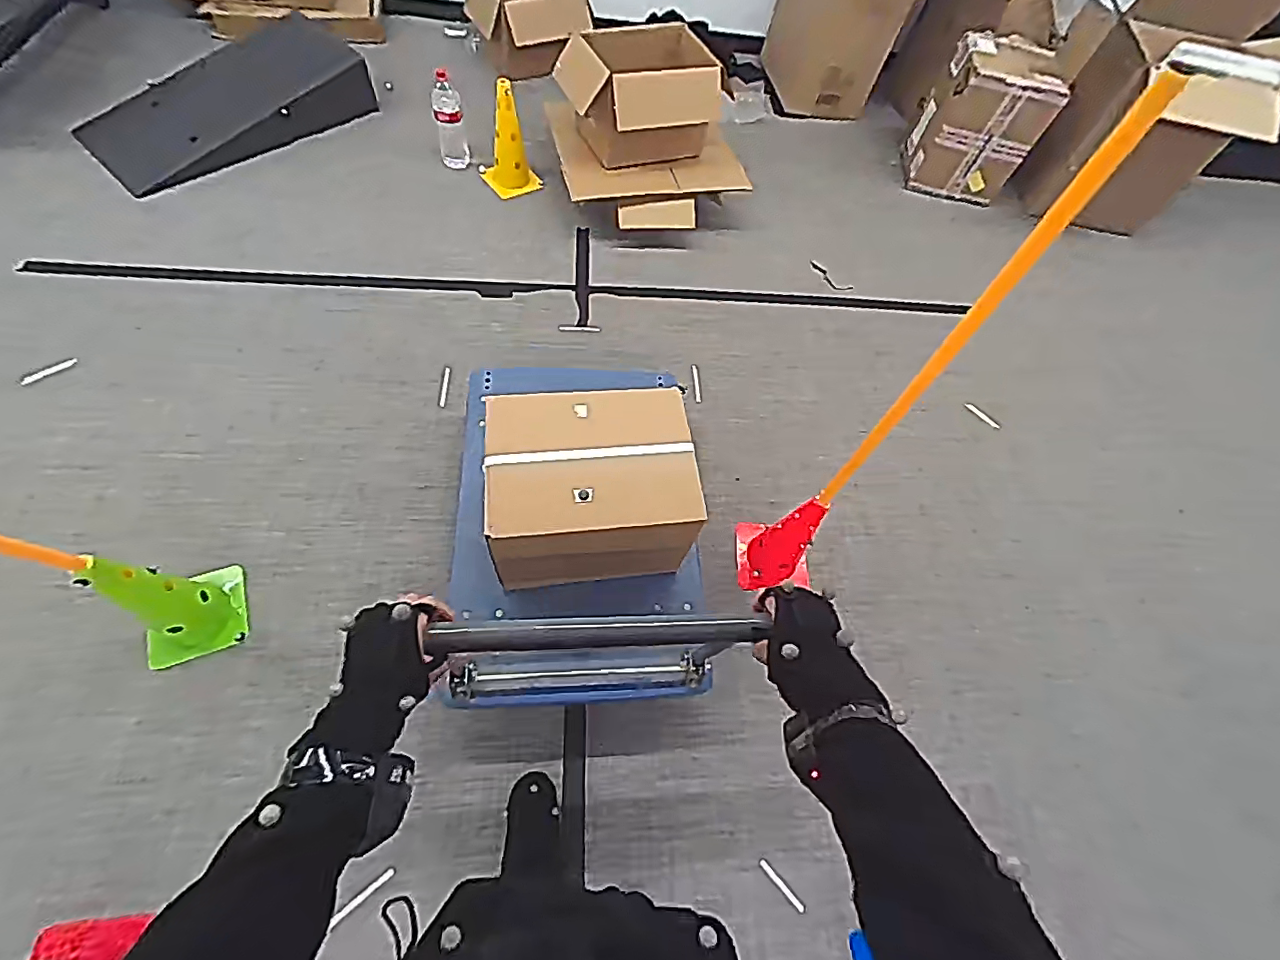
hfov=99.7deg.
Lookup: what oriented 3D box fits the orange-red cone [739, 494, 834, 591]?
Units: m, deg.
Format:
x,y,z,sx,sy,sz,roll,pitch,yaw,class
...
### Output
x,y,z,sx,sy,sz,roll,pitch,yaw,class
0.396,0.128,1.360,0.199,0.360,0.198,7,61,-5,orange-red cone
